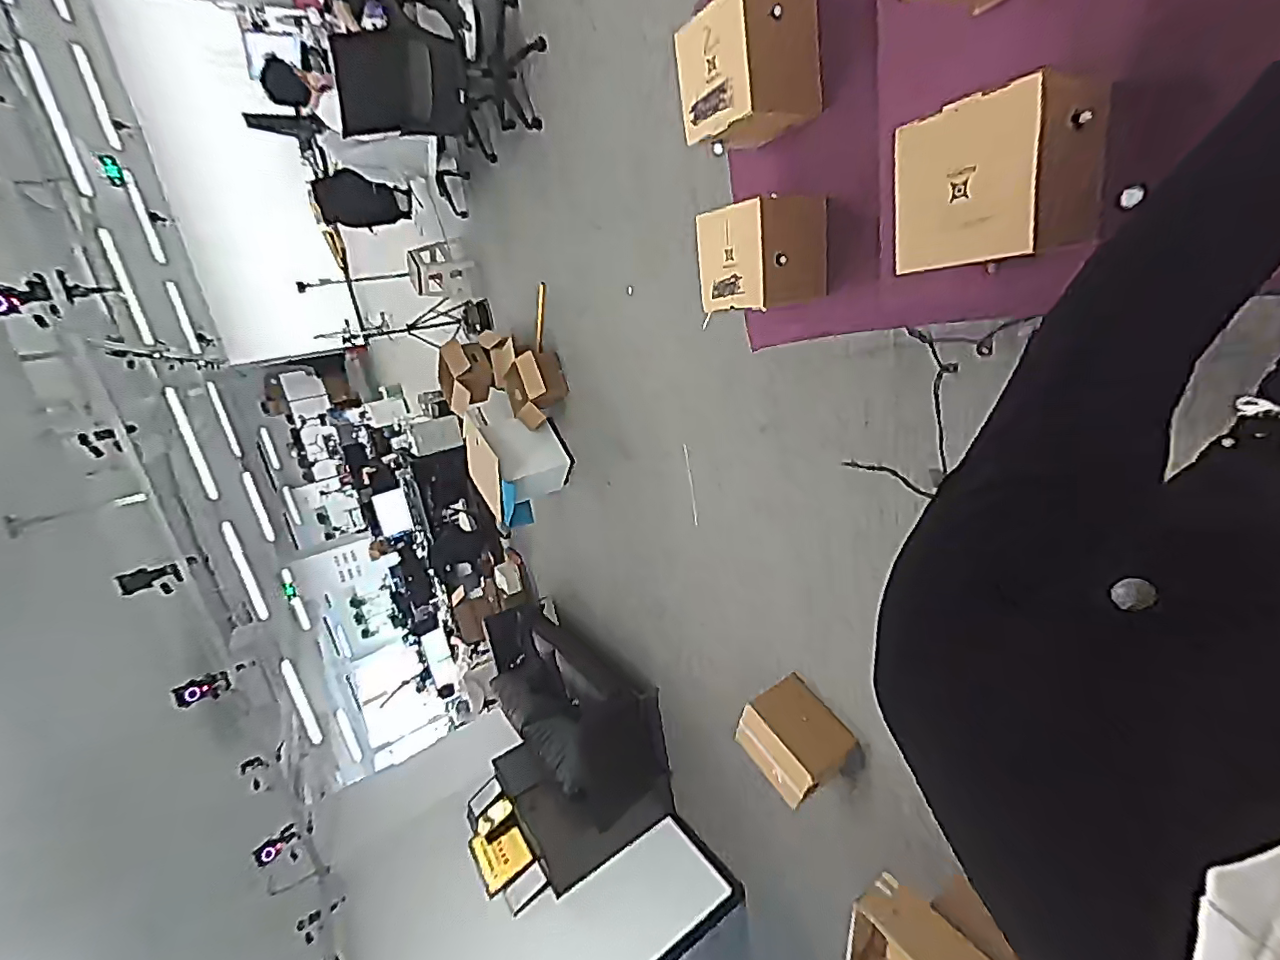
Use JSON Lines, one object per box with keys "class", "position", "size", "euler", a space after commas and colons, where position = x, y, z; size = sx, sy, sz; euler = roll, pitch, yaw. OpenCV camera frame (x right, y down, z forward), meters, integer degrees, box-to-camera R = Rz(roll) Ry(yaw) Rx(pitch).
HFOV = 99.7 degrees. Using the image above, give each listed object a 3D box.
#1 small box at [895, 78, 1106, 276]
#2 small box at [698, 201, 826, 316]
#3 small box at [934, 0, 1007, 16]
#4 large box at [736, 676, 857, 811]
{"class": "small box", "position": [0.446, -0.363, 0.678], "size": [0.168, 0.176, 0.179], "euler": [18, 121, 56]}
{"class": "small box", "position": [0.229, -0.410, 1.010], "size": [0.168, 0.176, 0.179], "euler": [20, 122, 54]}
{"class": "small box", "position": [0.398, -0.657, 0.587], "size": [0.168, 0.176, 0.179], "euler": [9, 115, 57]}
{"class": "large box", "position": [0.716, 1.212, 2.517], "size": [0.408, 0.320, 0.320], "euler": [42, 141, 39]}
